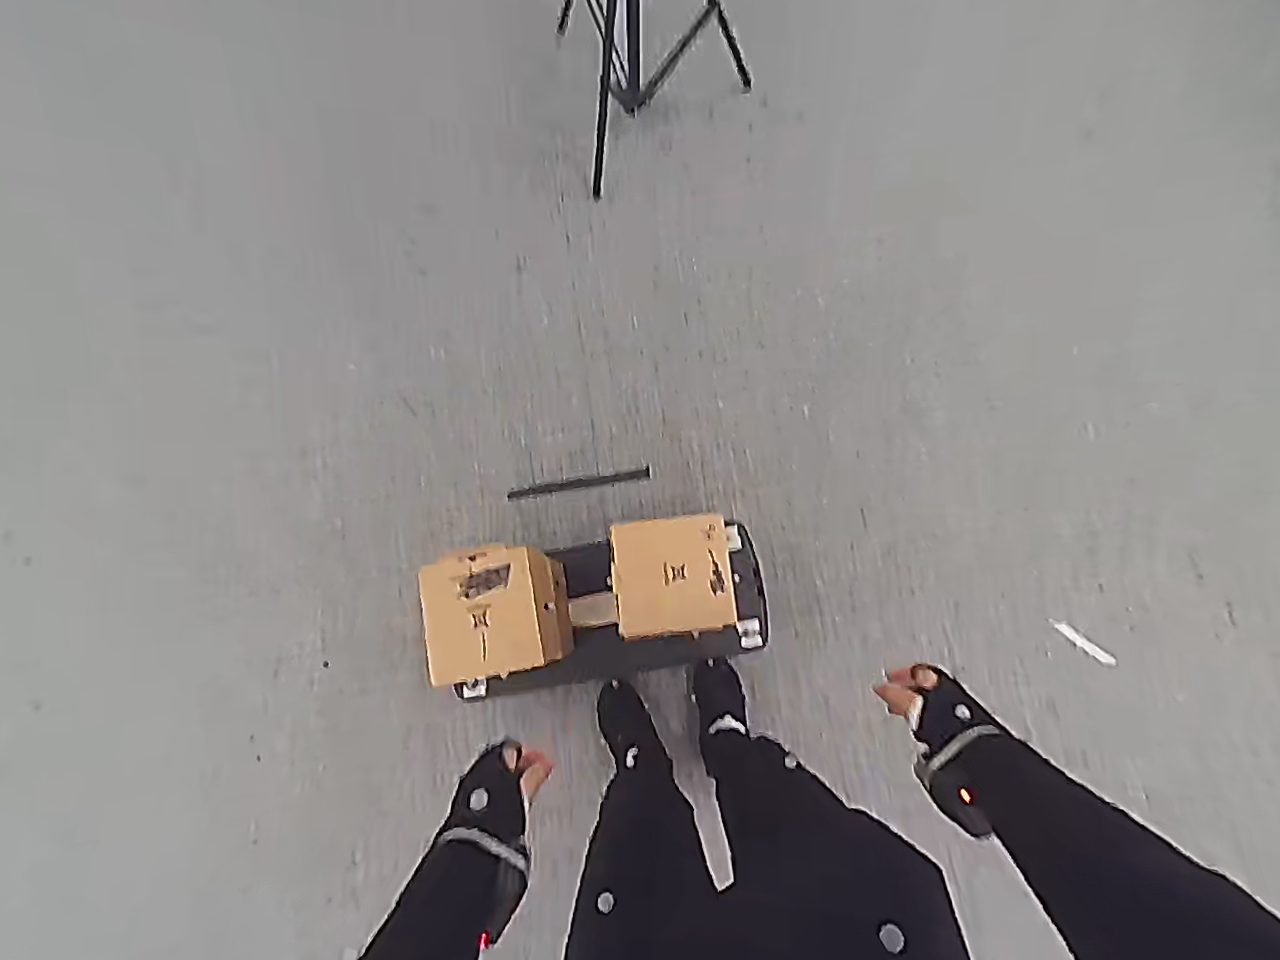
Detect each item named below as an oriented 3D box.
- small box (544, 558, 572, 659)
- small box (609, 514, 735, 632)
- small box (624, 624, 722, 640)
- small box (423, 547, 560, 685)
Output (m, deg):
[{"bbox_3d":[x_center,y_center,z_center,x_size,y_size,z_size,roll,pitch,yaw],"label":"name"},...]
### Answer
[{"bbox_3d":[-0.227,0.254,1.028,0.168,0.176,0.179,-9,78,-2],"label":"small box"},{"bbox_3d":[0.049,0.155,0.883,0.179,0.176,0.168,-6,78,0],"label":"small box"},{"bbox_3d":[0.051,0.208,1.039,0.179,0.176,0.168,-8,77,1],"label":"small box"},{"bbox_3d":[-0.230,0.214,0.869,0.168,0.176,0.179,-11,78,-2],"label":"small box"}]
